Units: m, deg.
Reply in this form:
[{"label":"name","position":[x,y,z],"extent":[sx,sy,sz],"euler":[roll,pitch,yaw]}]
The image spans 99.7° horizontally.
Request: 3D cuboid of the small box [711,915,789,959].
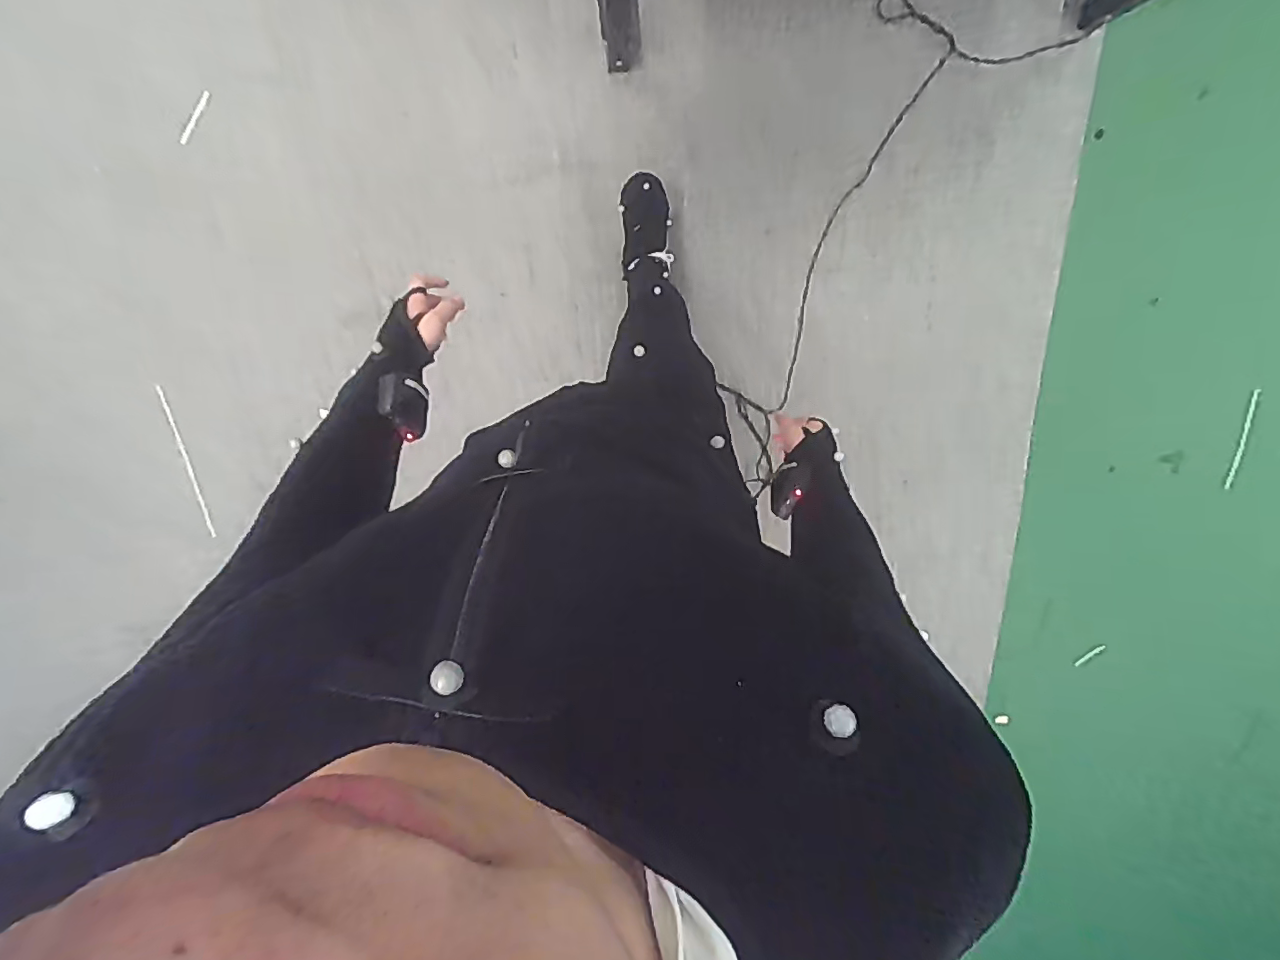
[{"label":"small box","position":[0.275,1.226,1.346],"extent":[0.168,0.176,0.179],"euler":[2,108,-2]}]
